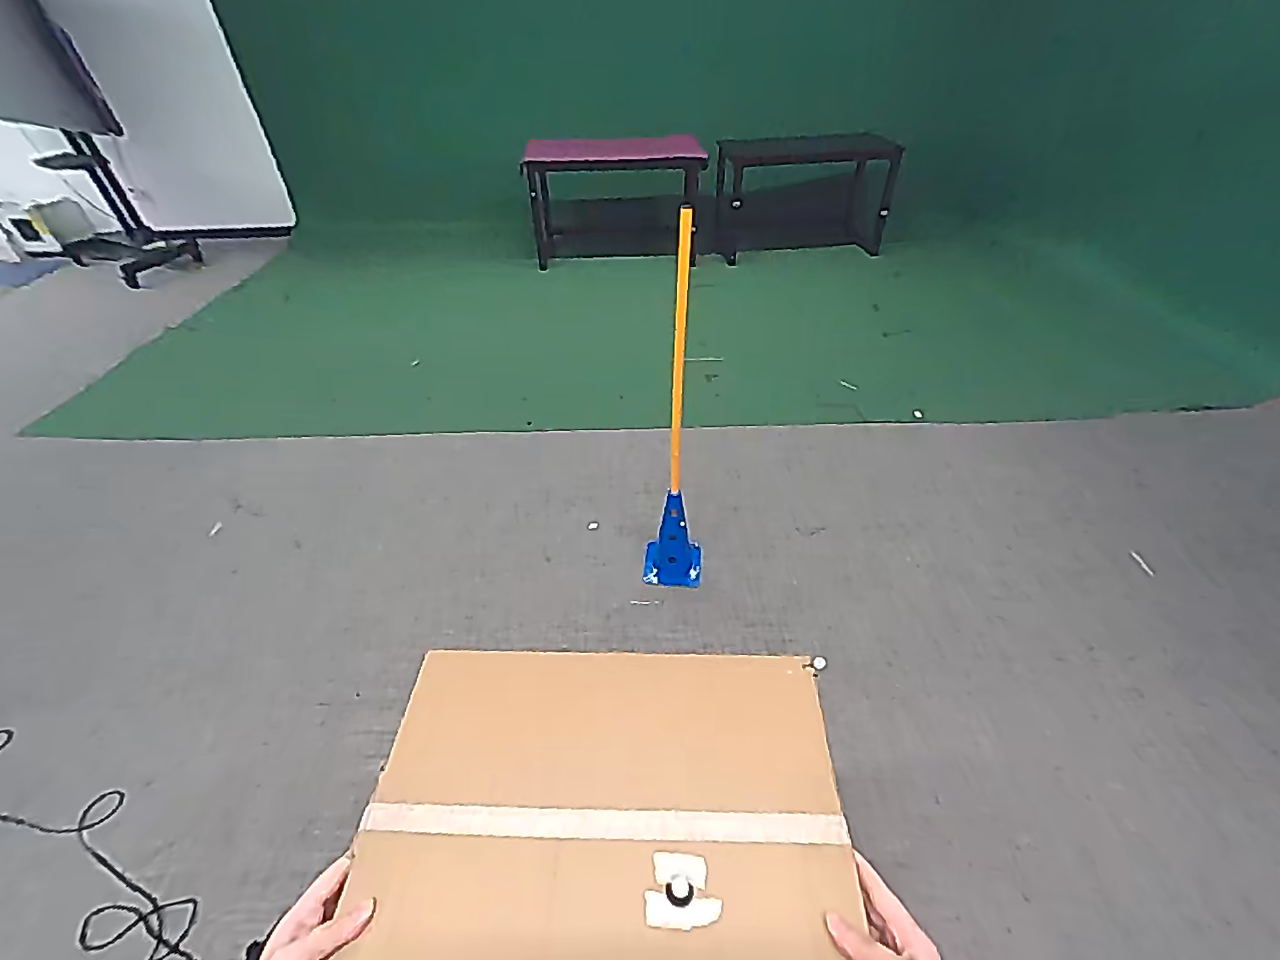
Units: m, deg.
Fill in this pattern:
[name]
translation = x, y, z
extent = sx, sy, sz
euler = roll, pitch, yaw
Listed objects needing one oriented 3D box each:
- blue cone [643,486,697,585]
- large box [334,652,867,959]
[blue cone]
translation = 0.107, 0.178, 1.856
extent = 0.193, 0.380, 0.192
euler = 5, 41, 6
[large box]
translation = -0.026, 0.400, 0.570
extent = 0.408, 0.320, 0.320
euler = 0, 44, 2
